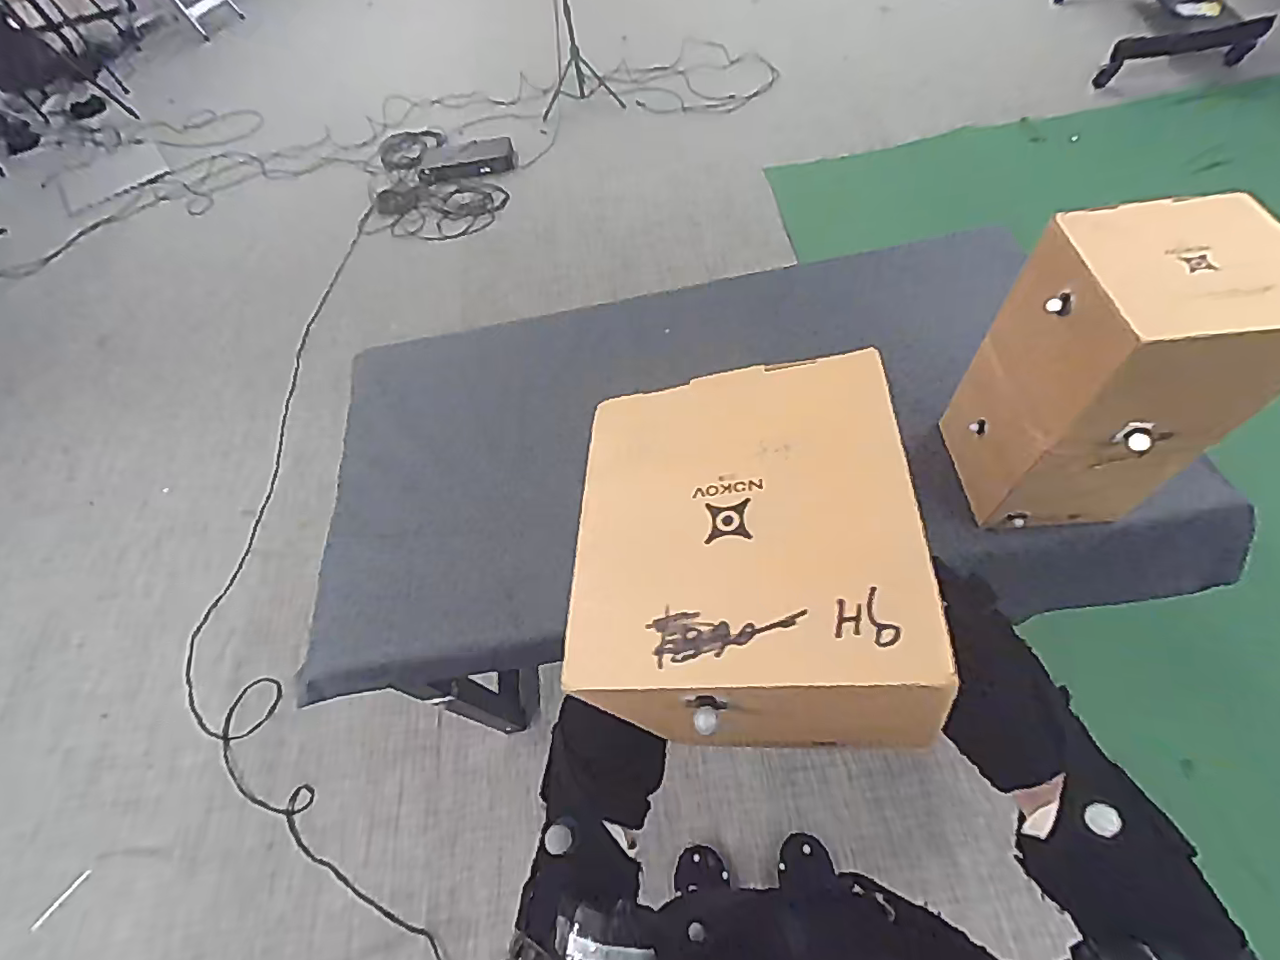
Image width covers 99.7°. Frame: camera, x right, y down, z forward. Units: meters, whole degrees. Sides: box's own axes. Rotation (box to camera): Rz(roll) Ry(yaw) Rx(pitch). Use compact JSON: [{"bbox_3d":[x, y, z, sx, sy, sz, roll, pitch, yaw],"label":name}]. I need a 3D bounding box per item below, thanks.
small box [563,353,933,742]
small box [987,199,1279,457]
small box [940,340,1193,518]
[{"bbox_3d":[0.074,0.053,0.342,0.168,0.176,0.179,-8,55,21],"label":"small box"},{"bbox_3d":[0.484,-0.143,0.538,0.168,0.176,0.179,-4,59,7],"label":"small box"},{"bbox_3d":[0.507,-0.061,0.675,0.168,0.176,0.179,-4,57,6],"label":"small box"}]
